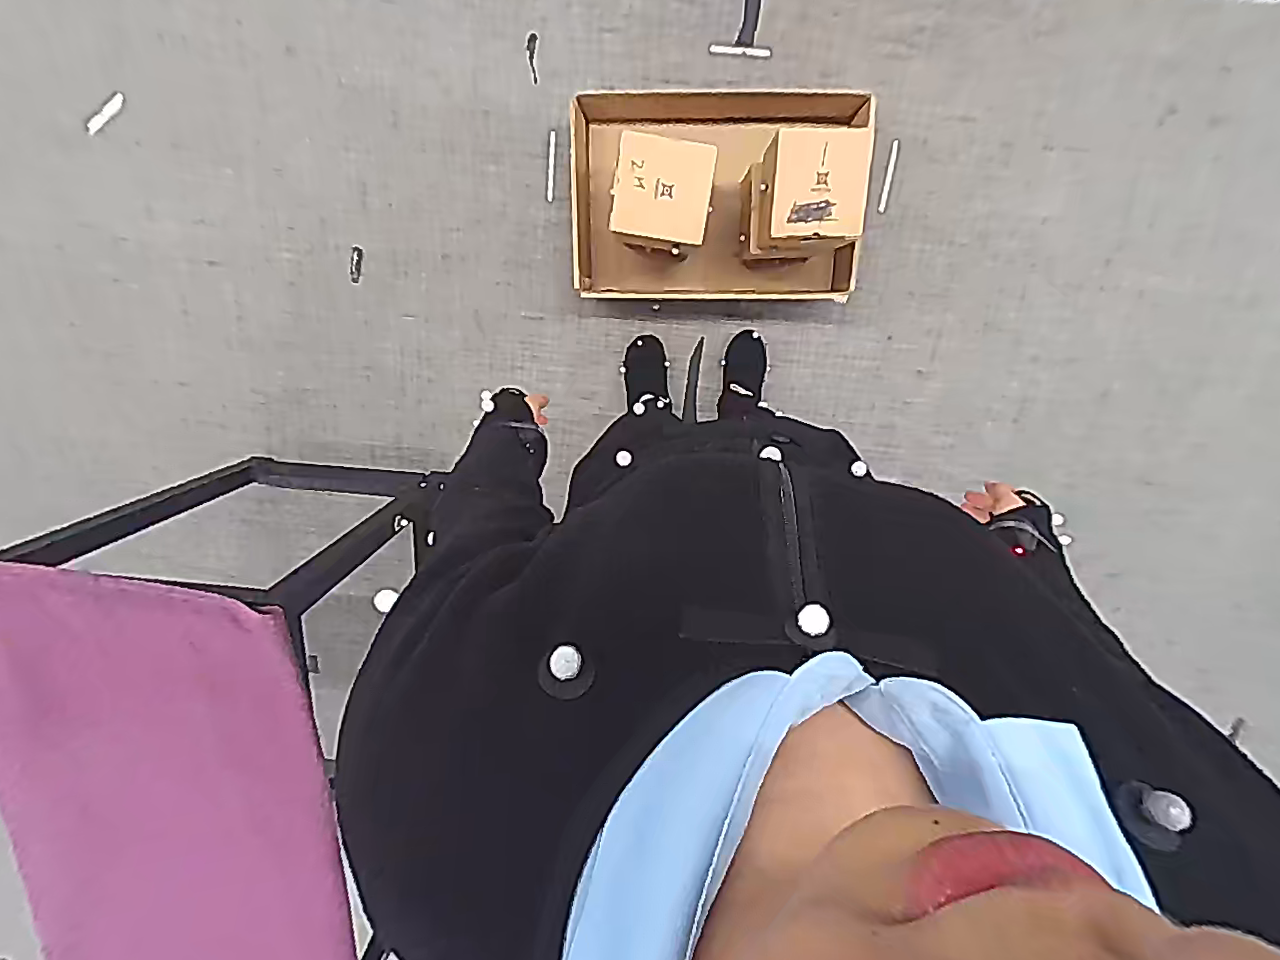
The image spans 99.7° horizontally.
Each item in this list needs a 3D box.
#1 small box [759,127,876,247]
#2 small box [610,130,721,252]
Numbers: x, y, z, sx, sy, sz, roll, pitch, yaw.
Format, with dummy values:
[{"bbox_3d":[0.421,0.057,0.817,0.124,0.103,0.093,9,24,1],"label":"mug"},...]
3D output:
[{"bbox_3d":[0.324,-0.544,1.025,0.168,0.176,0.179,2,107,2],"label":"small box"},{"bbox_3d":[0.045,-0.544,1.040,0.179,0.176,0.168,9,107,-1],"label":"small box"}]
